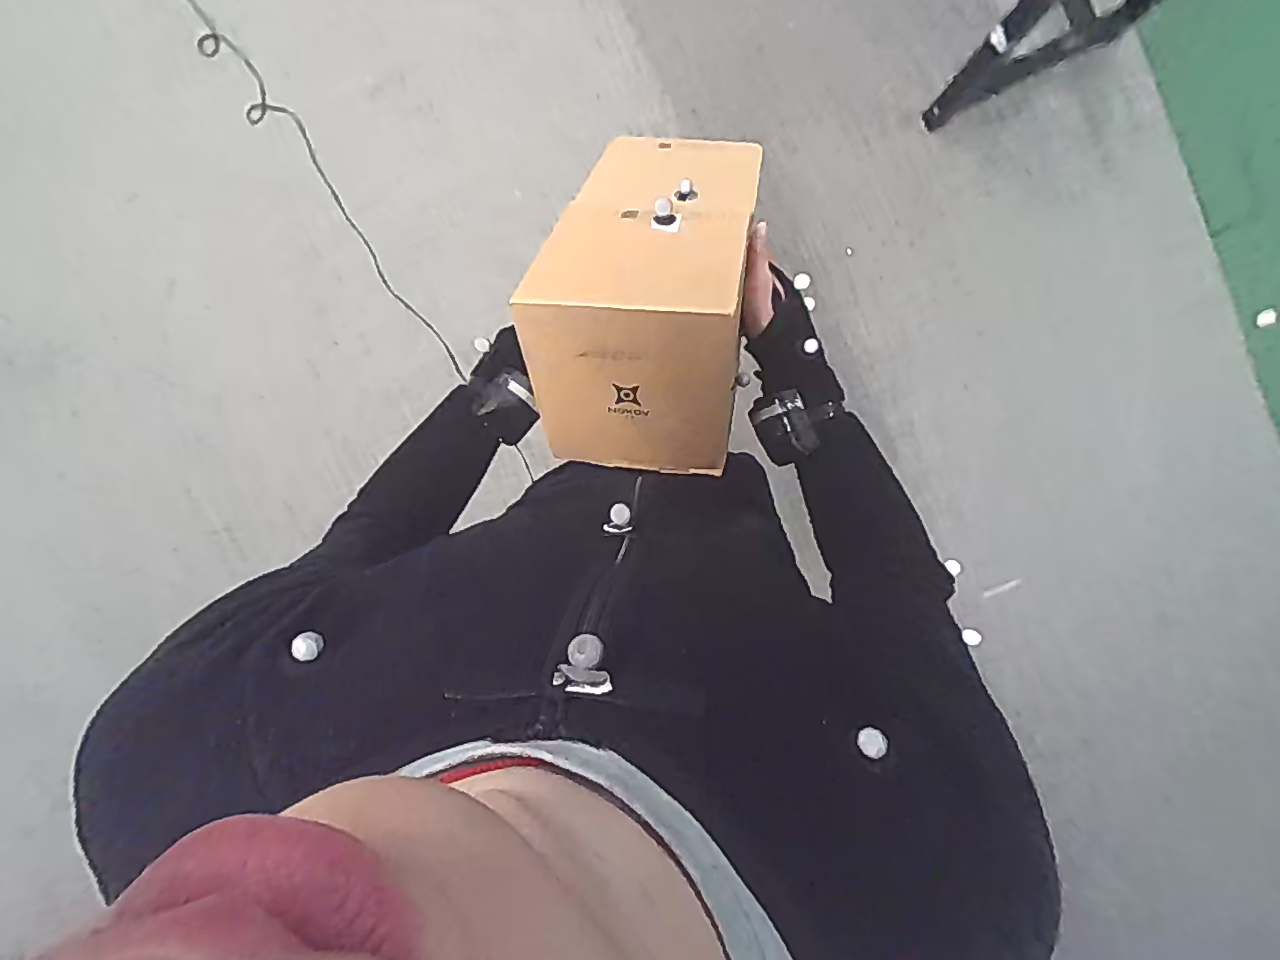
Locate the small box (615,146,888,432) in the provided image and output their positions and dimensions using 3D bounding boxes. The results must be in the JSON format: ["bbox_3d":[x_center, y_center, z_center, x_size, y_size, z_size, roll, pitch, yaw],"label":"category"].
[{"bbox_3d":[0.091,-0.178,0.508,0.179,0.168,0.176,17,125,-19],"label":"small box"}]
